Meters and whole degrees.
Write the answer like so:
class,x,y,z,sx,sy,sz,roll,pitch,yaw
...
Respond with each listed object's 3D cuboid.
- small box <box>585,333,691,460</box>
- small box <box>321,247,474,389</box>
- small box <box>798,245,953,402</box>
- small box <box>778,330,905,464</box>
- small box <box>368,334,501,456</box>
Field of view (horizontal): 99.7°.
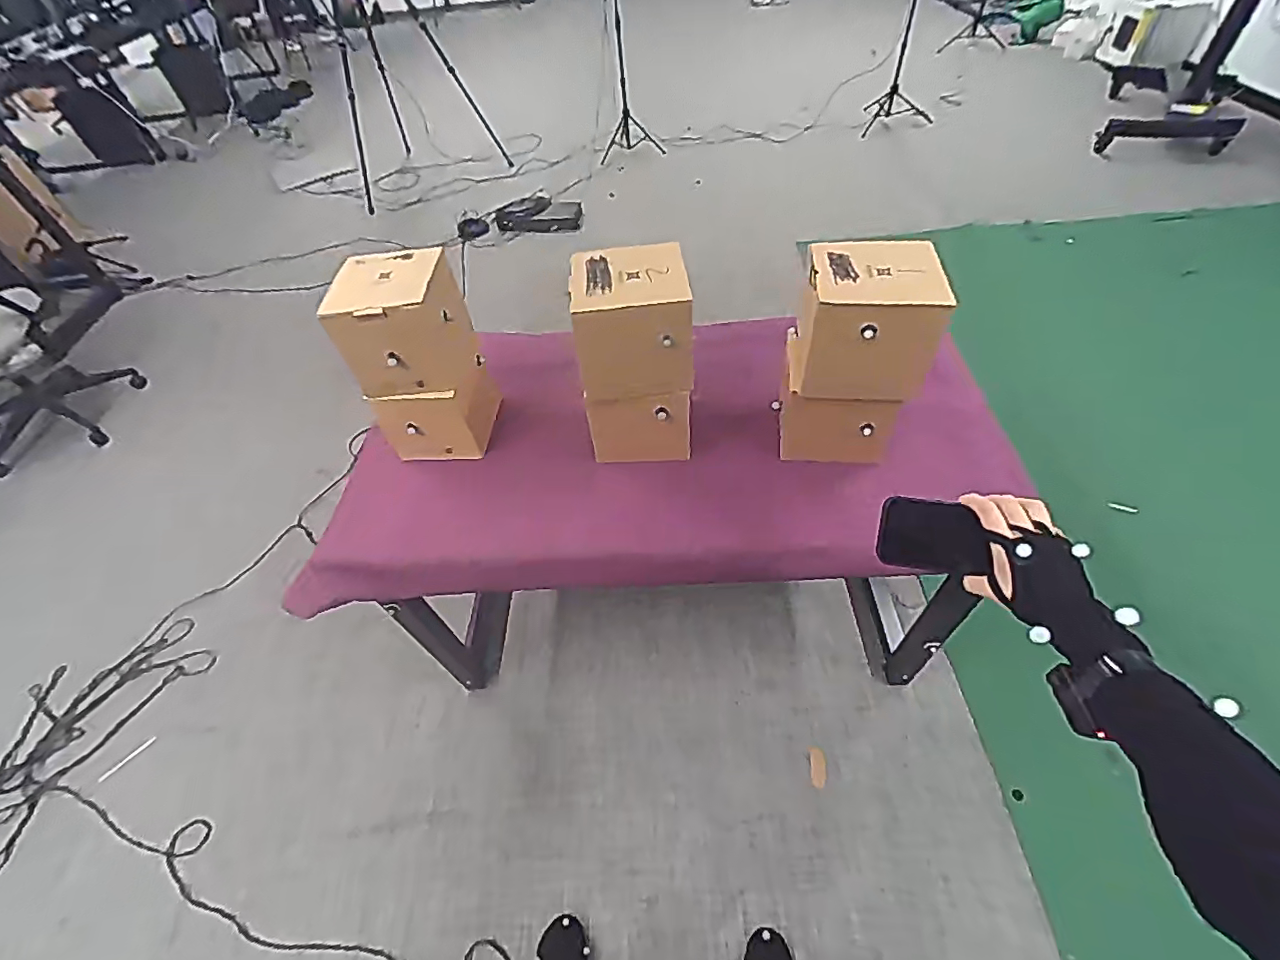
class,x,y,z,sx,sy,sz,roll,pitch,yaw
small box,0.005,-0.150,0.994,0.179,0.176,0.168,-1,51,6
small box,-0.396,-0.269,0.924,0.168,0.176,0.179,-4,51,2
small box,0.337,-0.234,0.817,0.179,0.176,0.168,4,51,9
small box,0.343,-0.143,0.954,0.179,0.176,0.168,4,51,10
small box,-0.383,-0.159,1.046,0.168,0.176,0.179,-1,51,6
